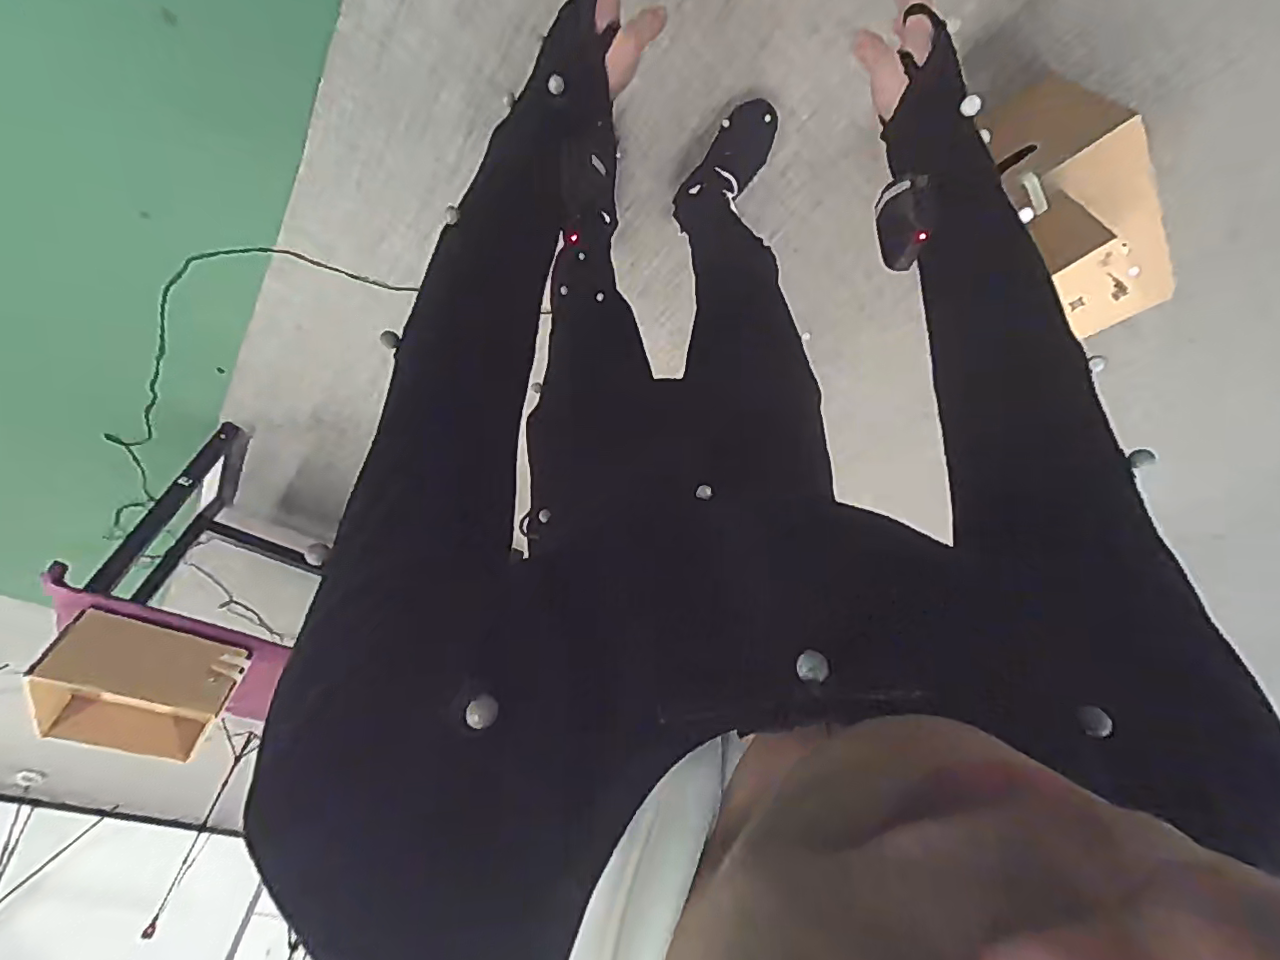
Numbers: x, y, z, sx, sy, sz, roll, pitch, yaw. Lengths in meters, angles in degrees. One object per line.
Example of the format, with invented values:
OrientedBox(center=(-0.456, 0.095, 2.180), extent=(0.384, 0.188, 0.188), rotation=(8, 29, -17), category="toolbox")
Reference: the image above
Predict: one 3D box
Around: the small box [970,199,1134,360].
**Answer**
OrientedBox(center=(0.725, -0.358, 0.972), extent=(0.179, 0.176, 0.168), rotation=(-31, 128, 33), category="small box")
